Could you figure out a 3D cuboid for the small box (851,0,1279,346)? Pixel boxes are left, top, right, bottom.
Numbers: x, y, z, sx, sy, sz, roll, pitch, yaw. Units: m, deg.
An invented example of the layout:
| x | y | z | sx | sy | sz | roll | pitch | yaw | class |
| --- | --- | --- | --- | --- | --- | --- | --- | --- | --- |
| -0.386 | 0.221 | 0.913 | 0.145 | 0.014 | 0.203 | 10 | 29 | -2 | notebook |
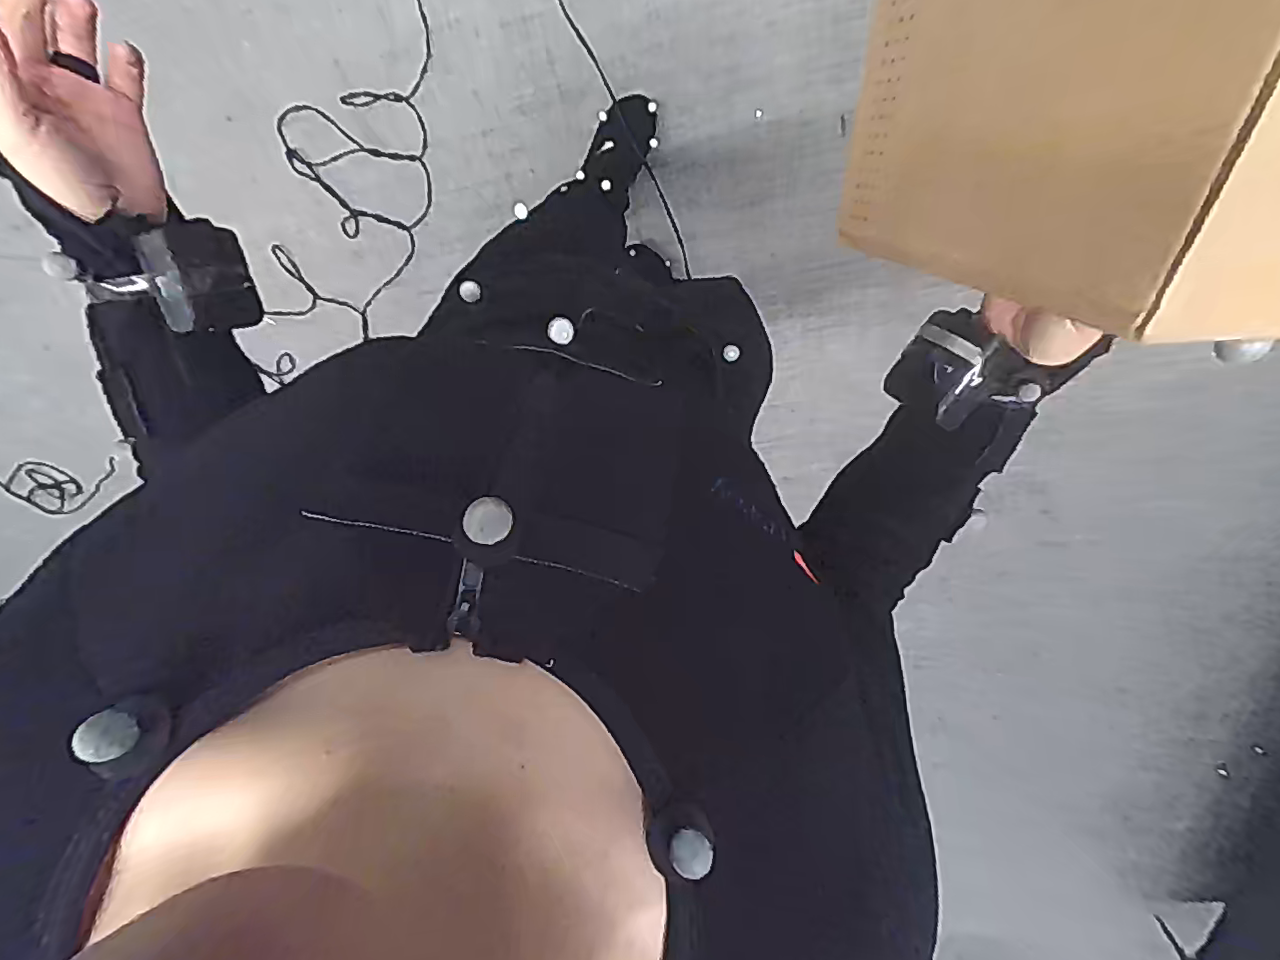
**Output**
| x | y | z | sx | sy | sz | roll | pitch | yaw | class |
| --- | --- | --- | --- | --- | --- | --- | --- | --- | --- |
| 0.194 | -0.156 | 0.180 | 0.168 | 0.176 | 0.179 | -5 | 121 | -7 | small box |
